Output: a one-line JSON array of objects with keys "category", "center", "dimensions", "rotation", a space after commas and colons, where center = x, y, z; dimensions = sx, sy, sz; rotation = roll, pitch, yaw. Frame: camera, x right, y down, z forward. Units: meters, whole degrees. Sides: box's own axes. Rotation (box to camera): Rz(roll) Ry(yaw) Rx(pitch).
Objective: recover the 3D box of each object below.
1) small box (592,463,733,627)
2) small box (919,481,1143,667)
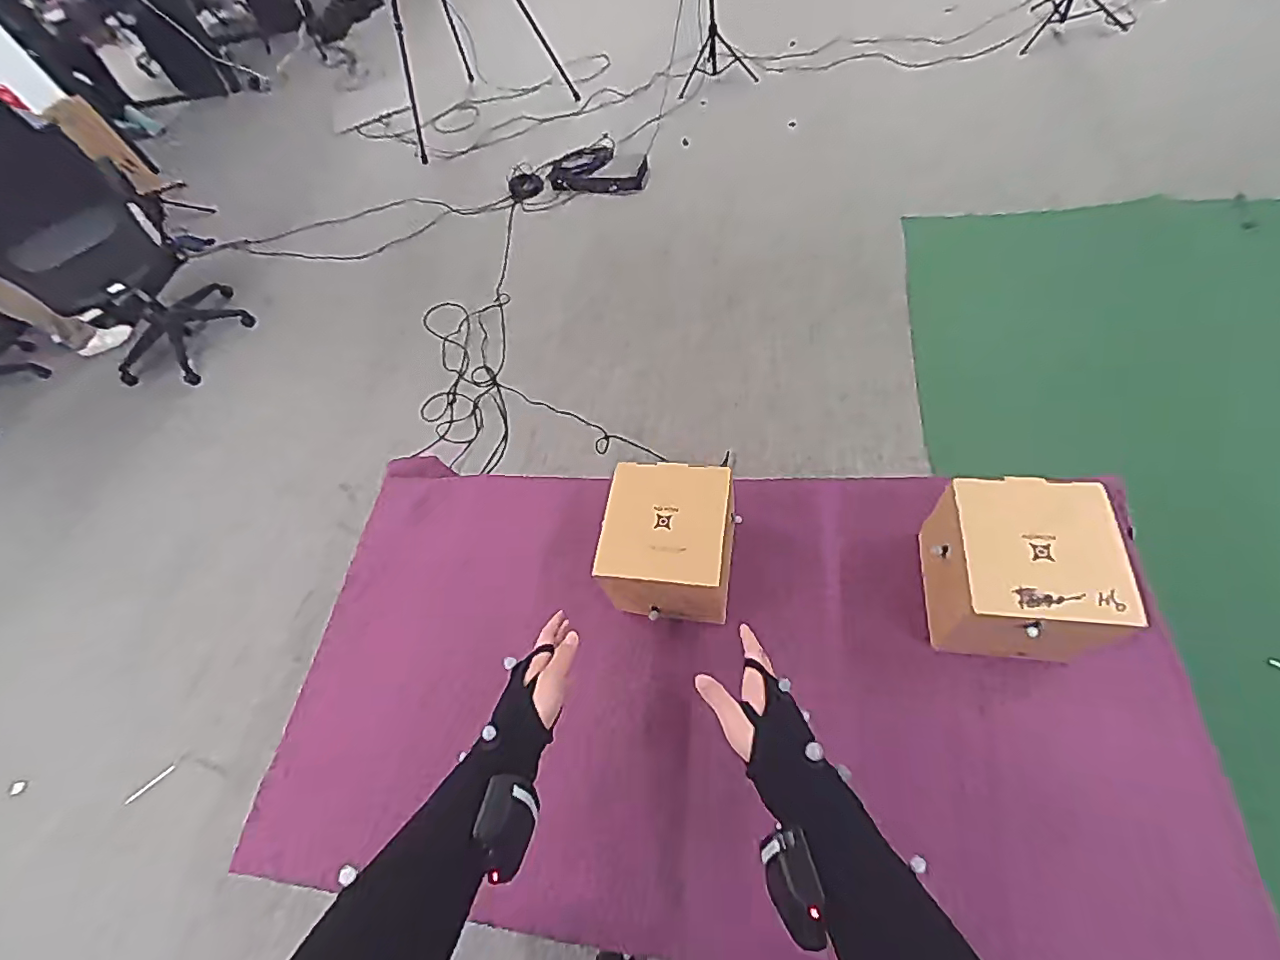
[{"category": "small box", "center": [0.044, 0.096, 0.785], "dimensions": [0.168, 0.176, 0.179], "rotation": [4, 61, 14]}, {"category": "small box", "center": [0.468, 0.121, 0.685], "dimensions": [0.168, 0.176, 0.179], "rotation": [2, 59, 13]}]
